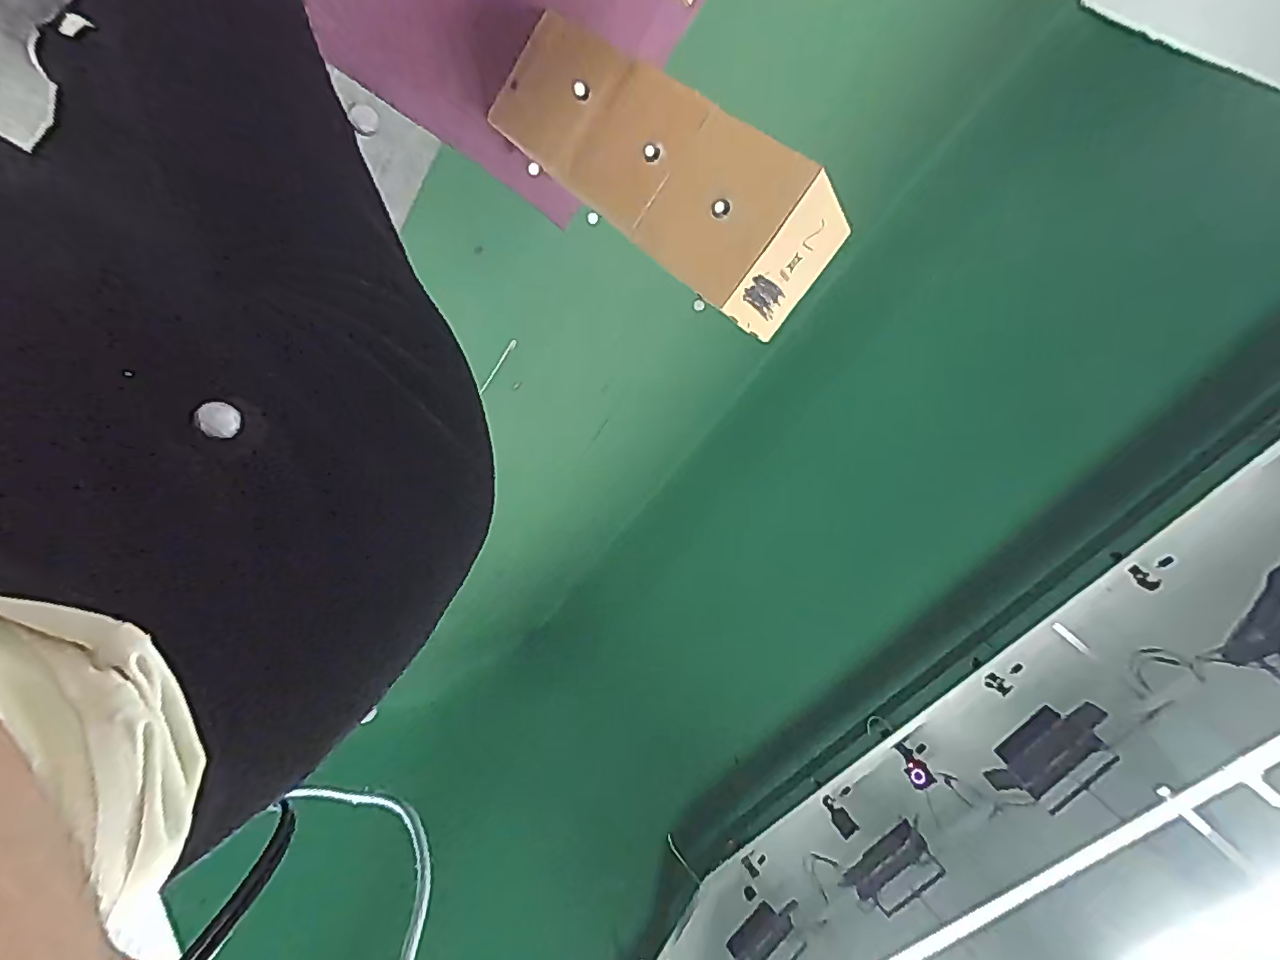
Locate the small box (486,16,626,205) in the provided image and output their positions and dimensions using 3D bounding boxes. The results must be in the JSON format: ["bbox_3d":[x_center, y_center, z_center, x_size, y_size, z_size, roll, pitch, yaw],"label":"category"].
[{"bbox_3d":[-0.090,-0.532,0.810,0.168,0.176,0.179,-51,159,16],"label":"small box"}]

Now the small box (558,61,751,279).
[{"bbox_3d":[0.019,-0.425,0.753,0.179,0.176,0.168,-50,157,17],"label":"small box"}]
